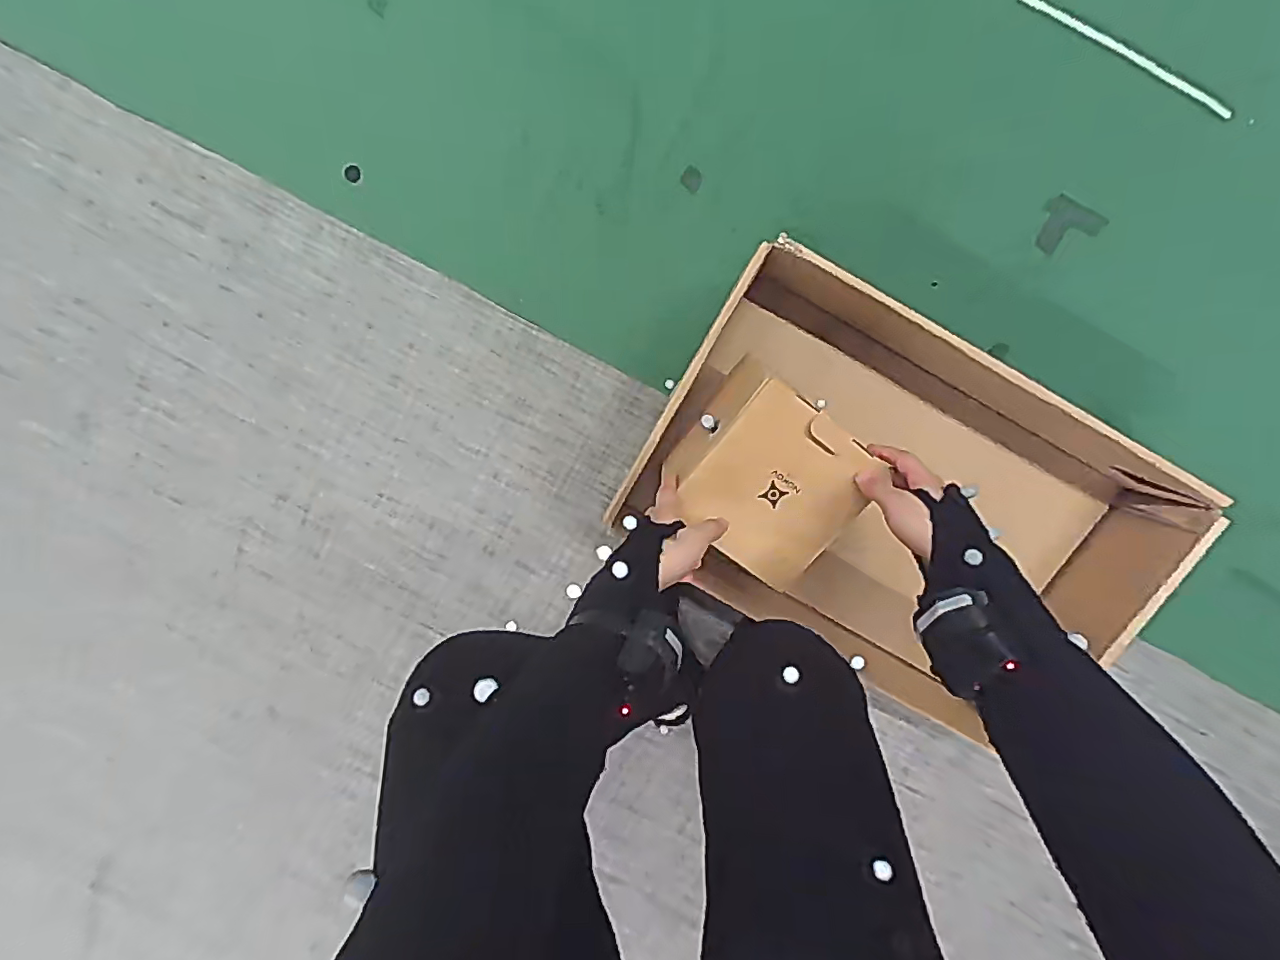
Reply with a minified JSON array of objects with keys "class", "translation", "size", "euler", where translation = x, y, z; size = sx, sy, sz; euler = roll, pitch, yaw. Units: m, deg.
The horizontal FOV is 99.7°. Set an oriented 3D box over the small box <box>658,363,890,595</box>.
[{"class":"small box","translation":[0.137,-0.010,0.619],"size":[0.168,0.176,0.179],"euler":[35,107,-10]}]
